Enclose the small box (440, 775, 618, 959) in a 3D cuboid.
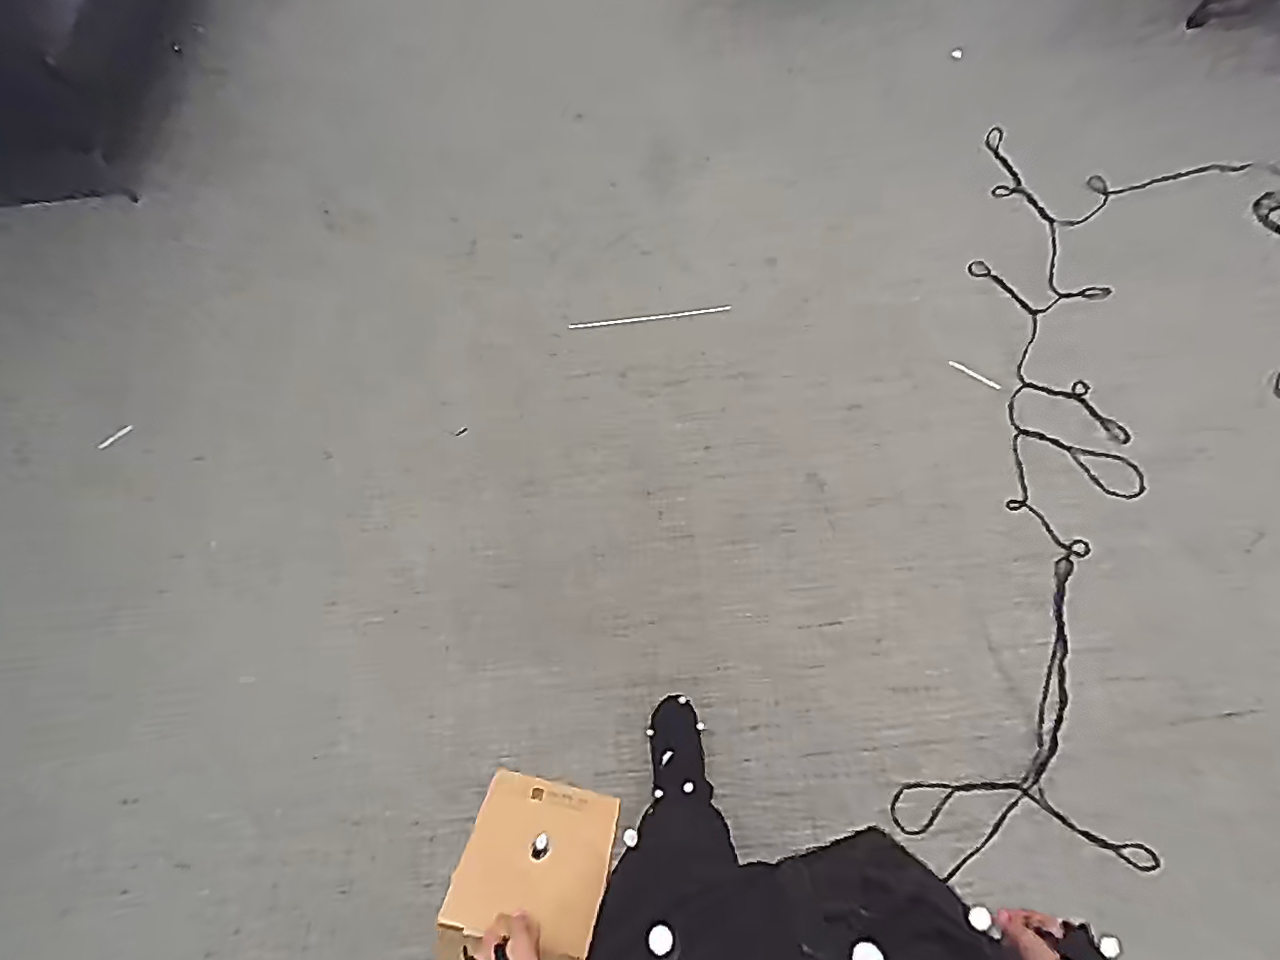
[{"bbox_3d":[-0.127,0.497,0.657,0.168,0.179,0.176,12,29,2],"label":"small box"}]
